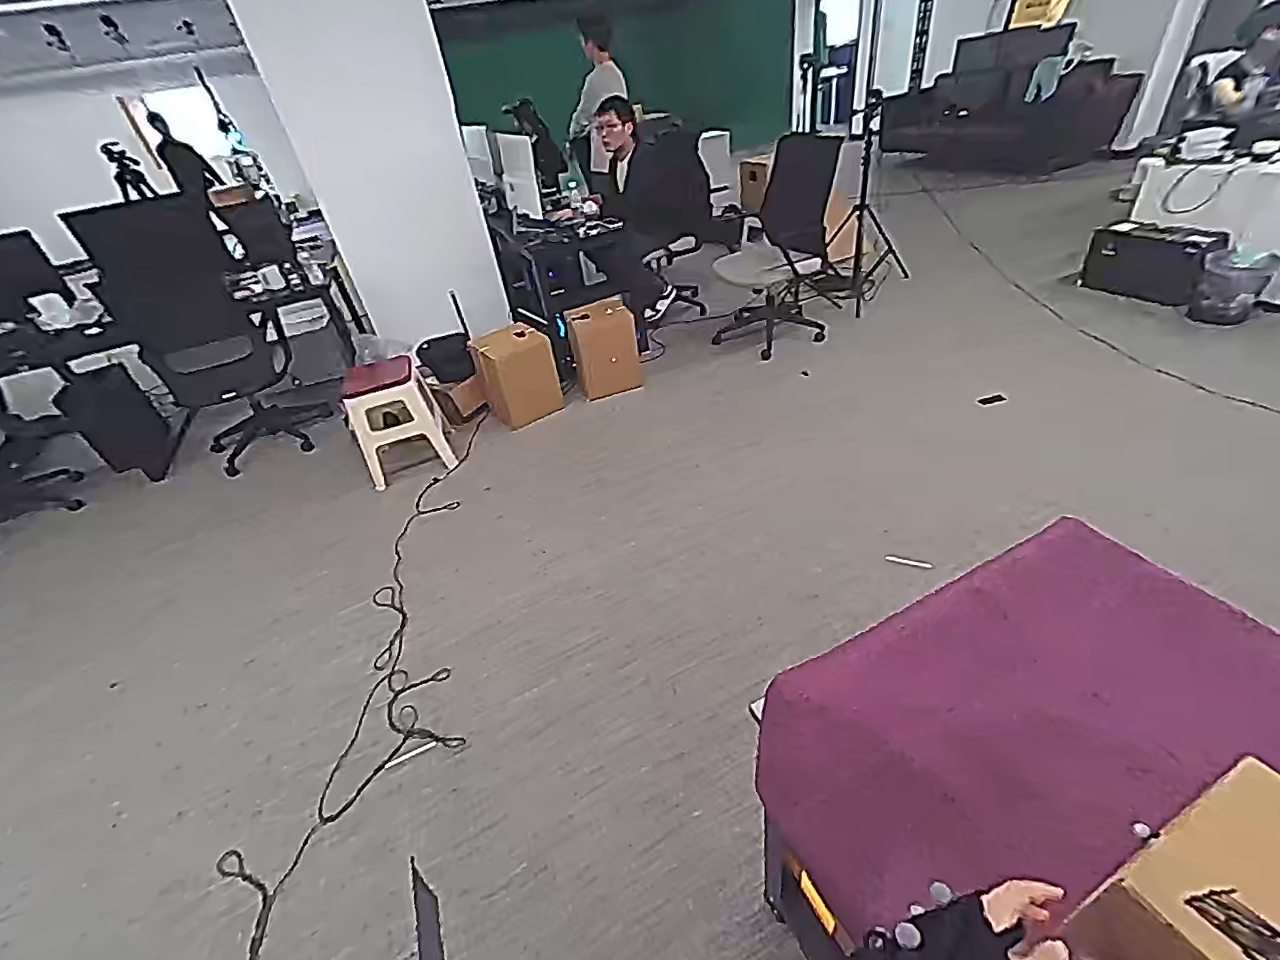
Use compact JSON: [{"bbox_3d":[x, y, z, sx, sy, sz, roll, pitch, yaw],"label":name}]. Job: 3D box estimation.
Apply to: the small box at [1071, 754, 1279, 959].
[{"bbox_3d":[0.473,0.358,0.406,0.179,0.176,0.168,-22,39,-18],"label":"small box"}]
